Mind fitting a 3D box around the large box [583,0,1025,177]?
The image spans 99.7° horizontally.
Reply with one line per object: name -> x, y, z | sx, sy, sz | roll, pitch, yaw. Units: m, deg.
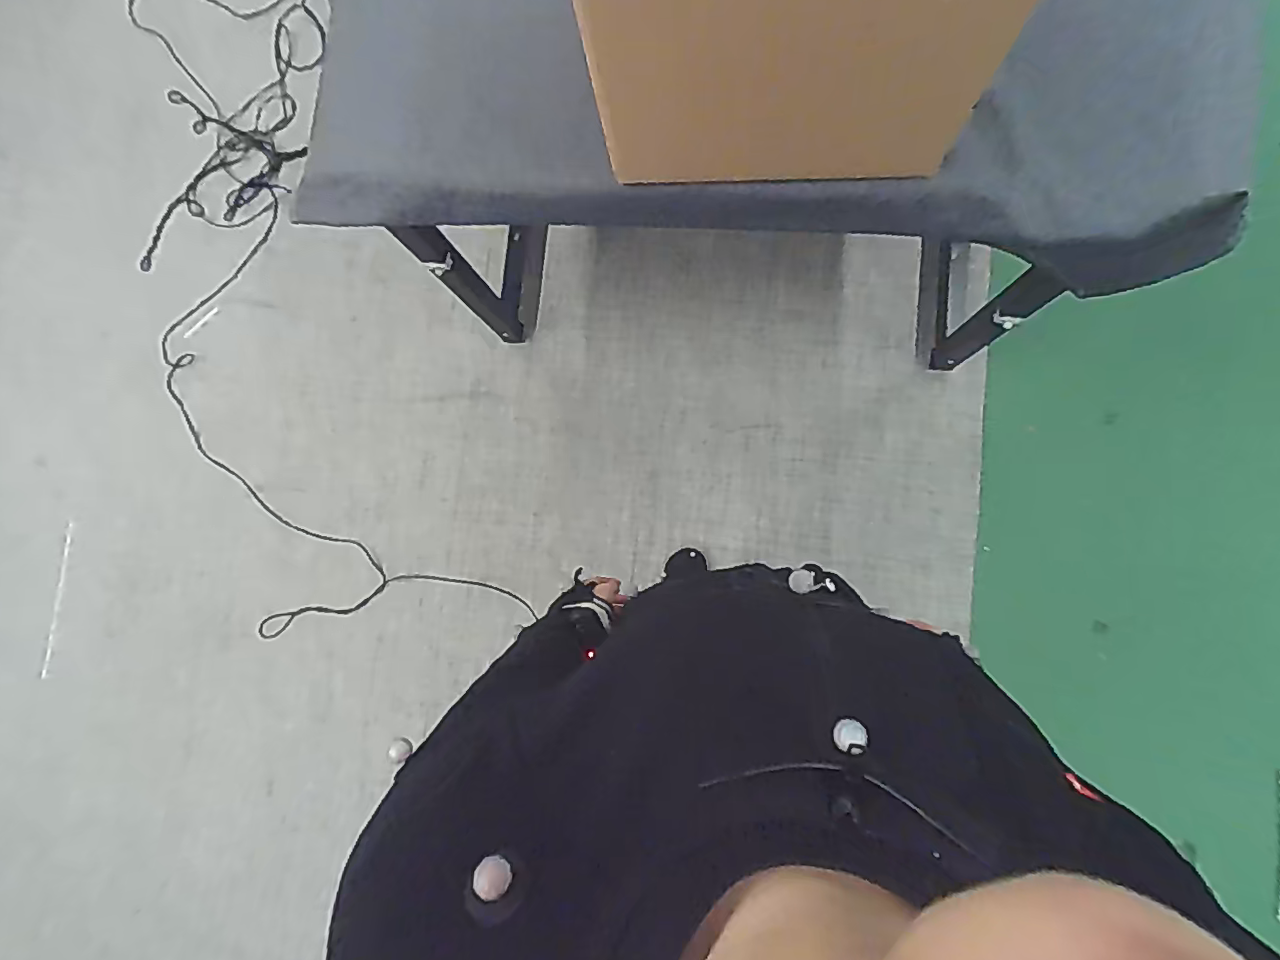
large box -> 0.156, -0.566, 0.573 | 0.408, 0.320, 0.320 | 2, 83, 6
